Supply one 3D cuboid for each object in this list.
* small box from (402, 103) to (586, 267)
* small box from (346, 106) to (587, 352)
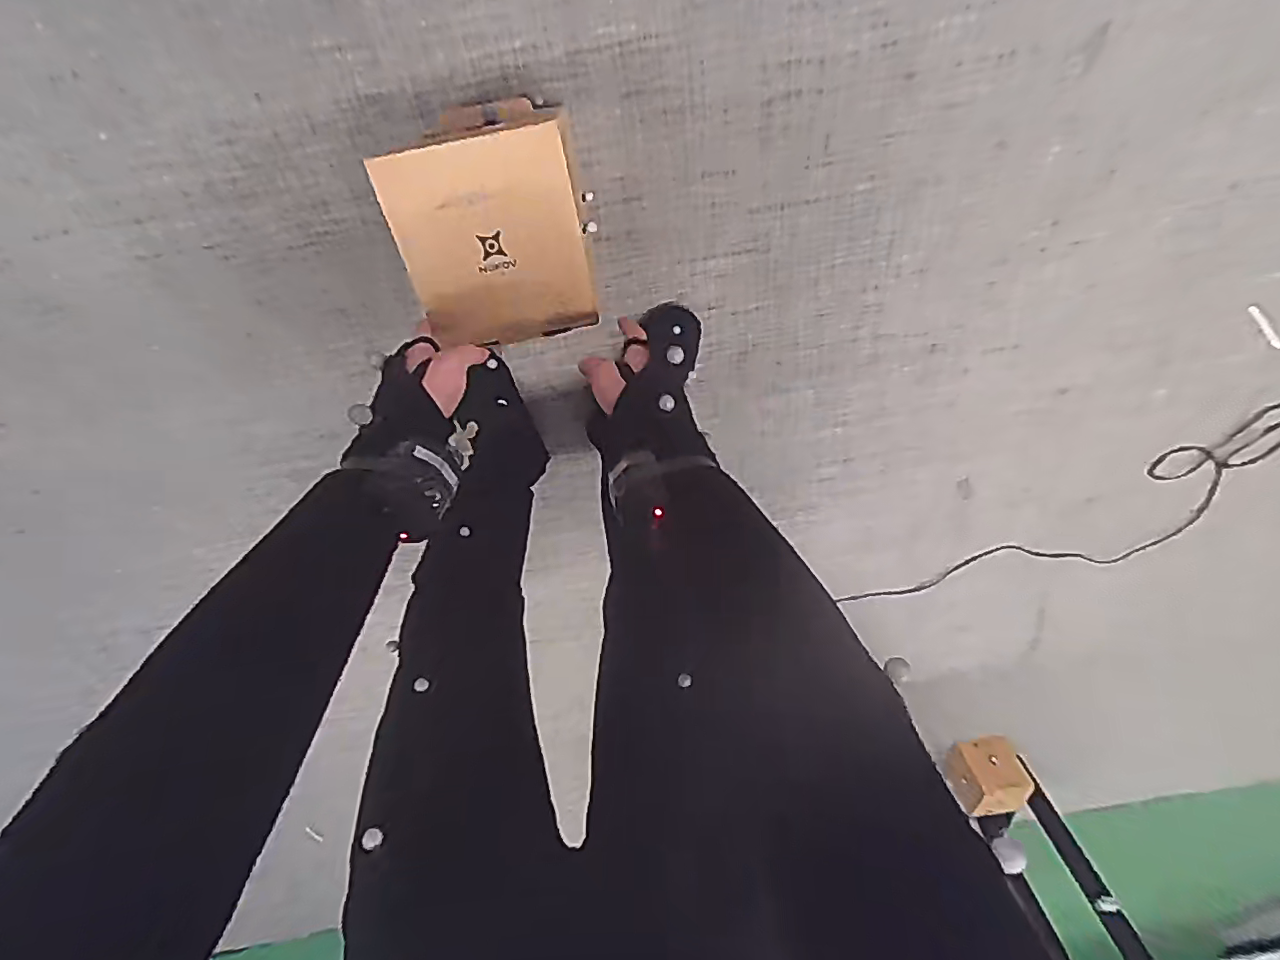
[{"bbox_3d":[-0.167,-0.353,0.673,0.168,0.176,0.179,-10,127,1],"label":"small box"},{"bbox_3d":[-0.151,-0.256,0.544,0.168,0.176,0.179,-12,126,1],"label":"small box"}]
